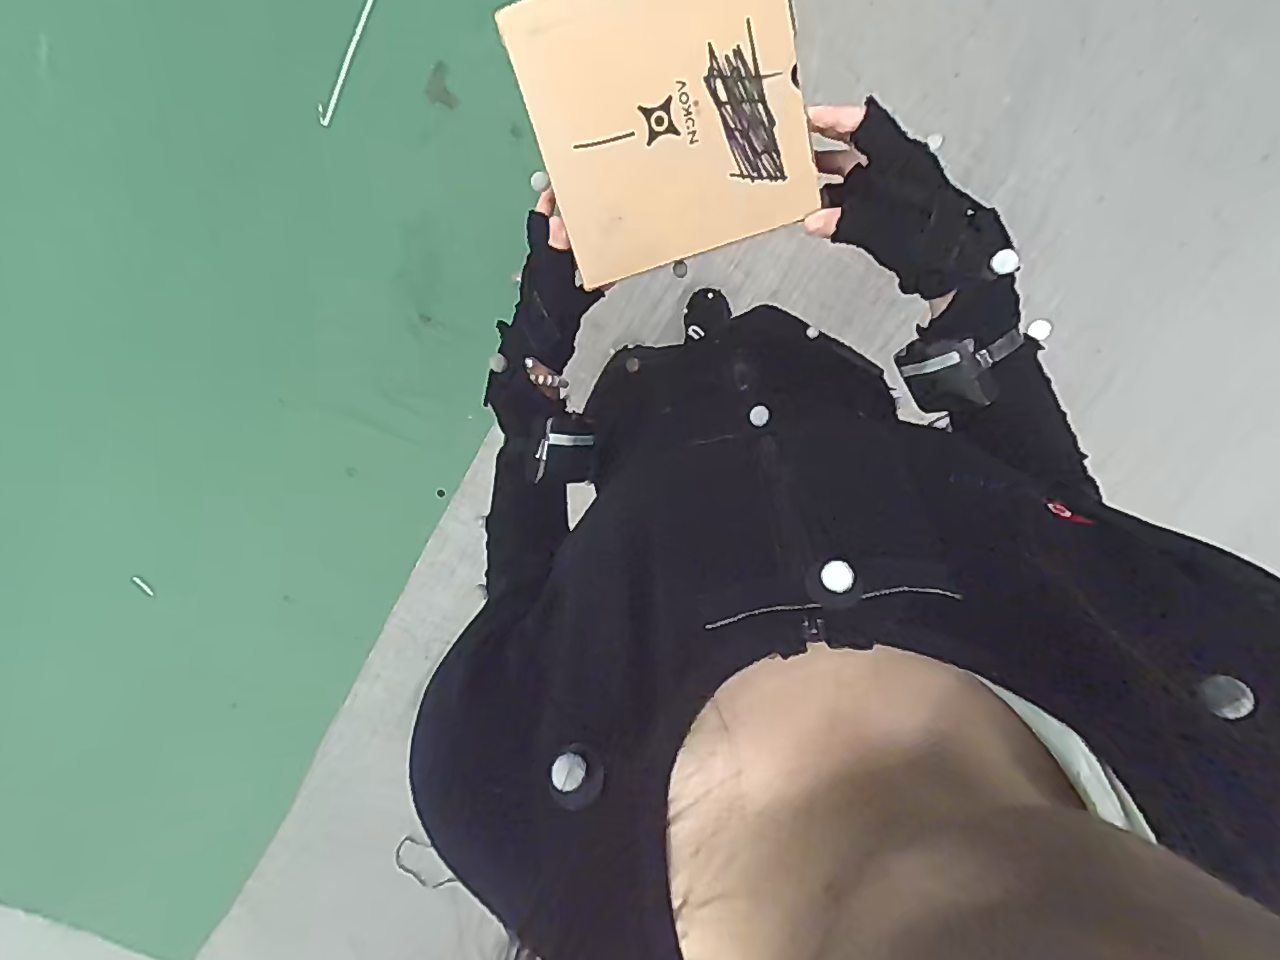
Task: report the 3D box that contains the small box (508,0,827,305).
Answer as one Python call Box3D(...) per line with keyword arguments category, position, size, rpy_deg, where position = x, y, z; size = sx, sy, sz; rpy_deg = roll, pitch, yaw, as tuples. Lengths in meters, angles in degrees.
Box3D(category="small box", position=(0.018, -0.247, 0.416), size=(0.179, 0.176, 0.168), rpy_deg=(-17, 112, 2))
